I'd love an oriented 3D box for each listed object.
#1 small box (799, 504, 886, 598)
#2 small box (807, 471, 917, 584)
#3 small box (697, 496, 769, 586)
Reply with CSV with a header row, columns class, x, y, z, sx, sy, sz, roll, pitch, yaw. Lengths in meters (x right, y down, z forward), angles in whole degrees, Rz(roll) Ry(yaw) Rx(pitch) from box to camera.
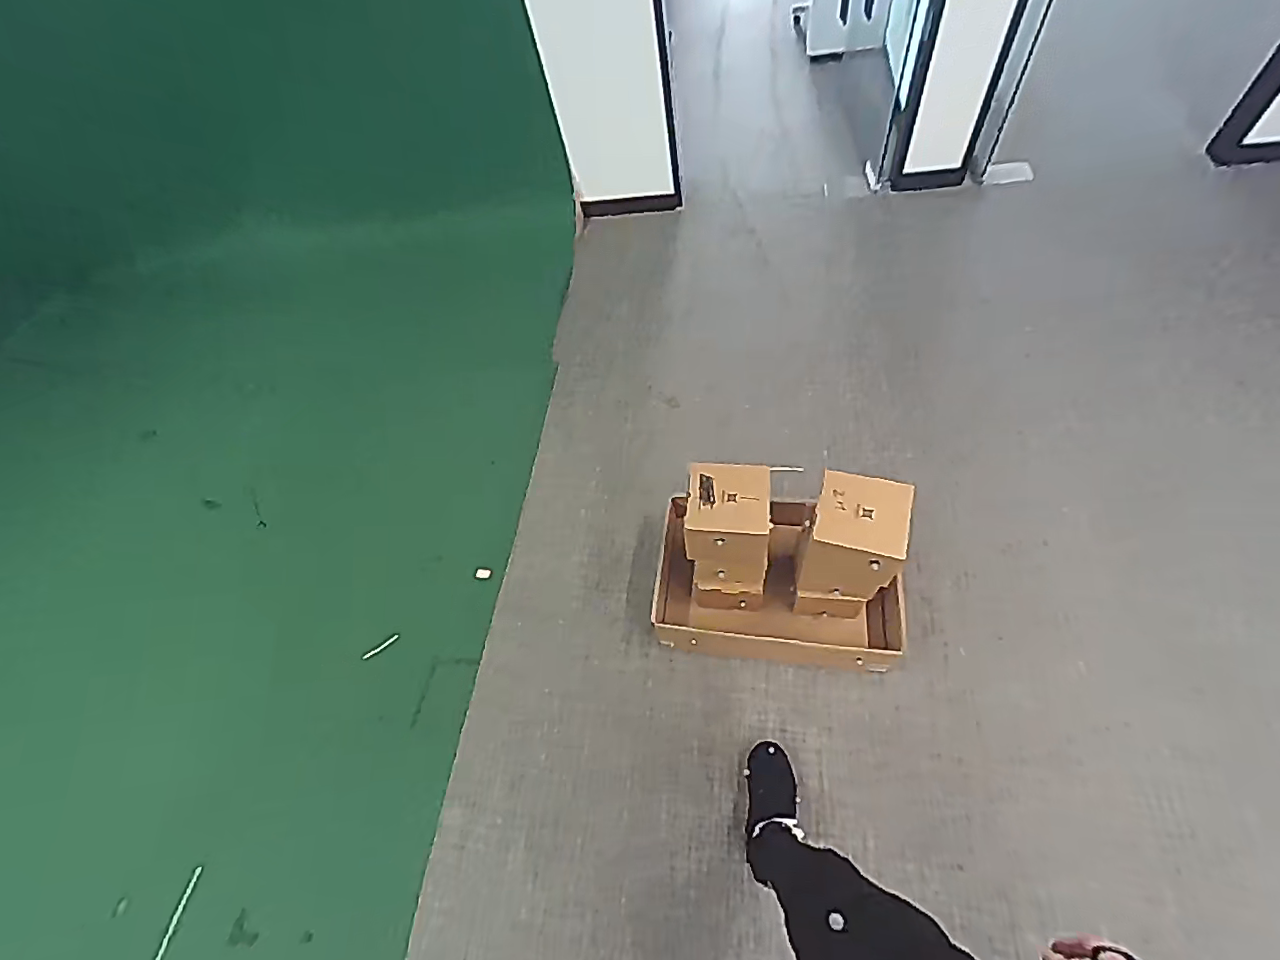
class,x,y,z,sx,sy,sz,roll,pitch,yaw
small box,0.481,0.174,1.289,0.179,0.176,0.168,5,62,14
small box,0.460,0.105,1.139,0.179,0.176,0.168,12,64,18
small box,0.234,0.157,1.353,0.168,0.176,0.179,2,60,10
